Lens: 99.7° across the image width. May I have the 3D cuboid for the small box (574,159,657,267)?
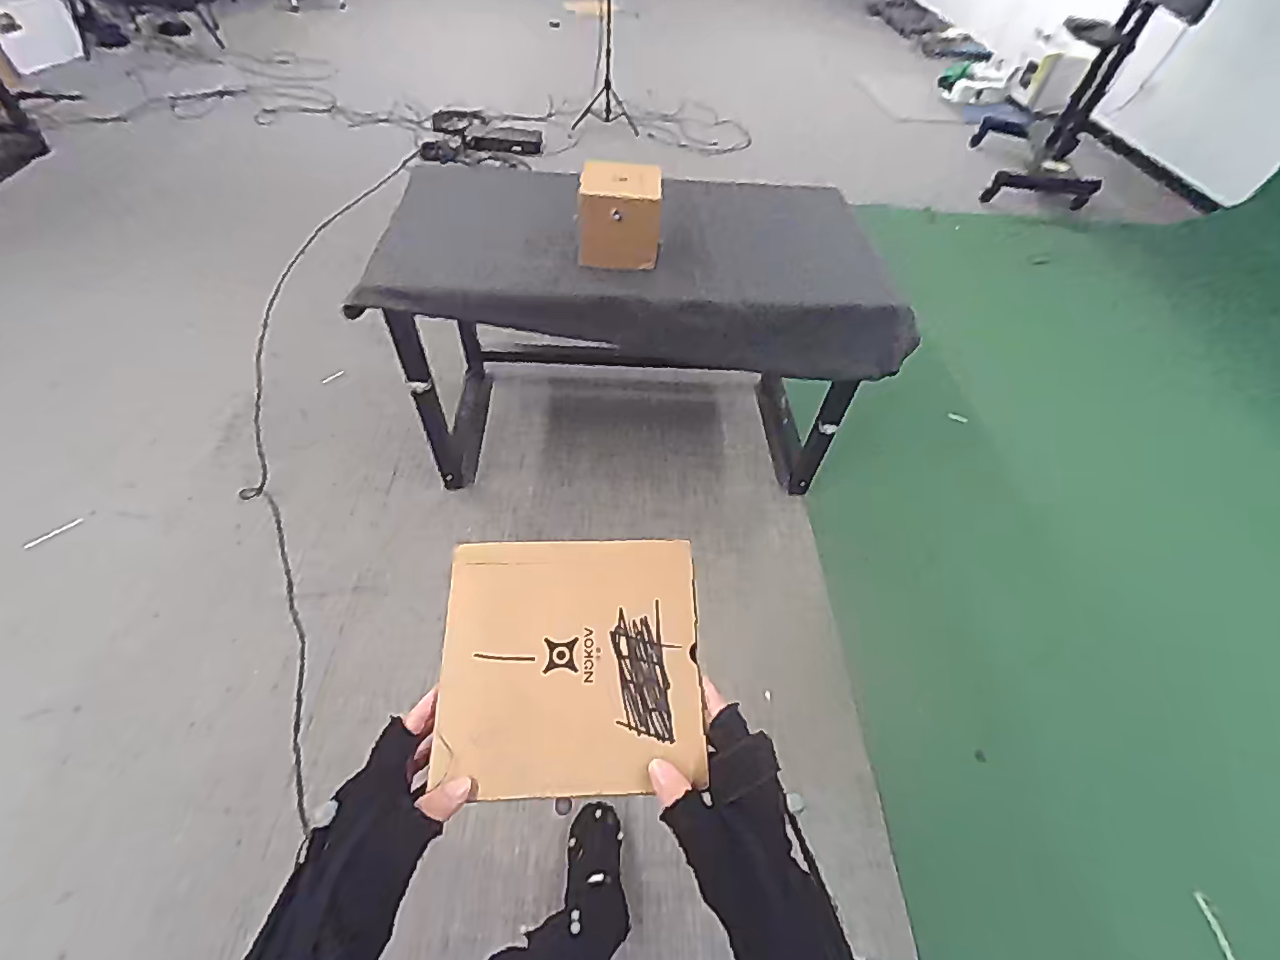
[{"bbox_3d":[-0.054,-0.604,1.232,0.179,0.176,0.168,2,52,-3],"label":"small box"}]

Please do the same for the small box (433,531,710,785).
[{"bbox_3d":[-0.048,0.146,0.443,0.179,0.176,0.168,-1,65,-3],"label":"small box"}]
